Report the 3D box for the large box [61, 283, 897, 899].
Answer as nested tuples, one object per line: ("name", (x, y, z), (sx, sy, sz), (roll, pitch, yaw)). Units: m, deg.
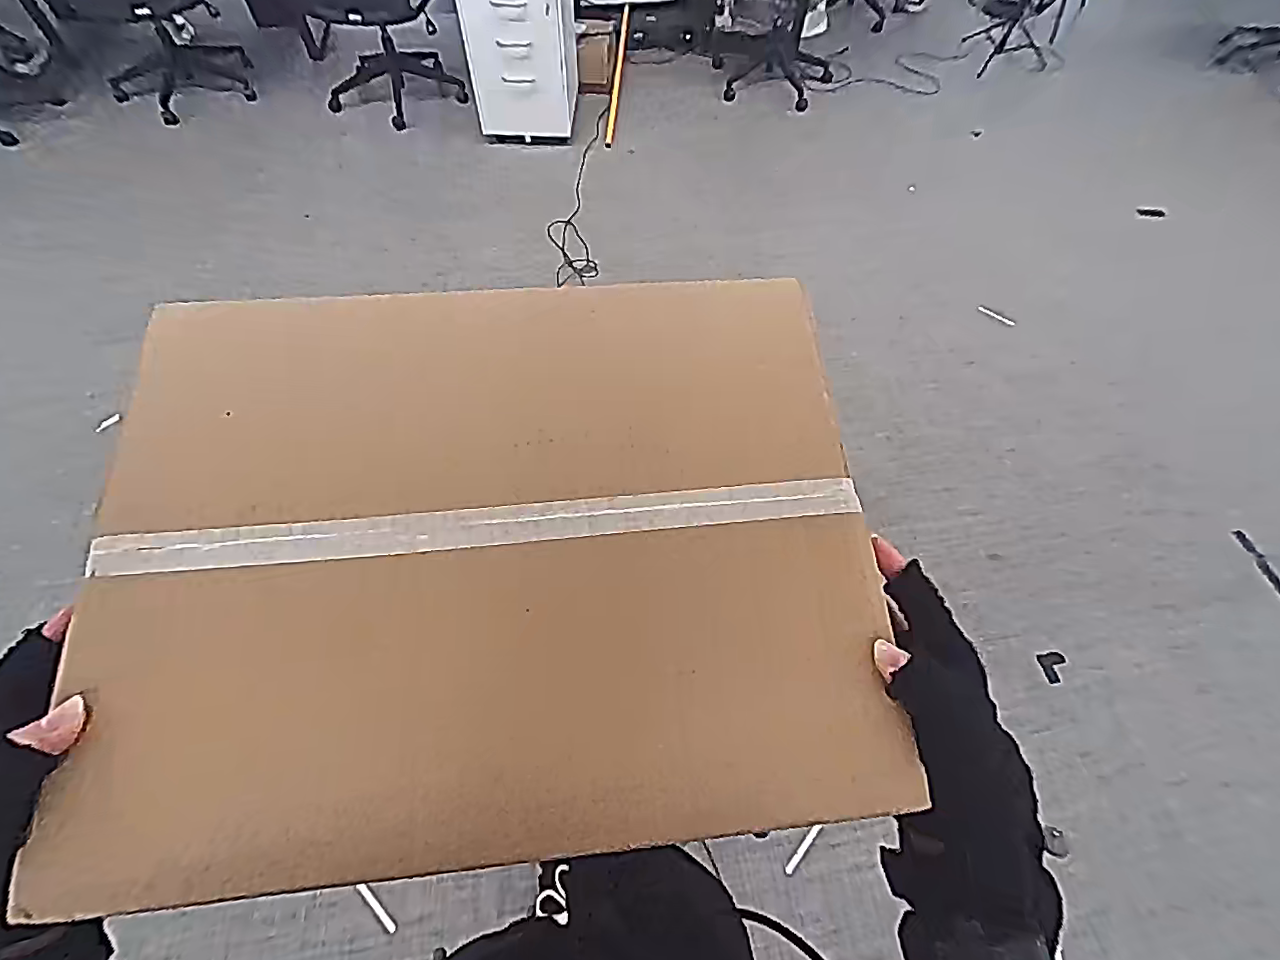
("large box", (-0.085, 0.074, 0.445), (0.408, 0.320, 0.320), (-4, 70, -4))
